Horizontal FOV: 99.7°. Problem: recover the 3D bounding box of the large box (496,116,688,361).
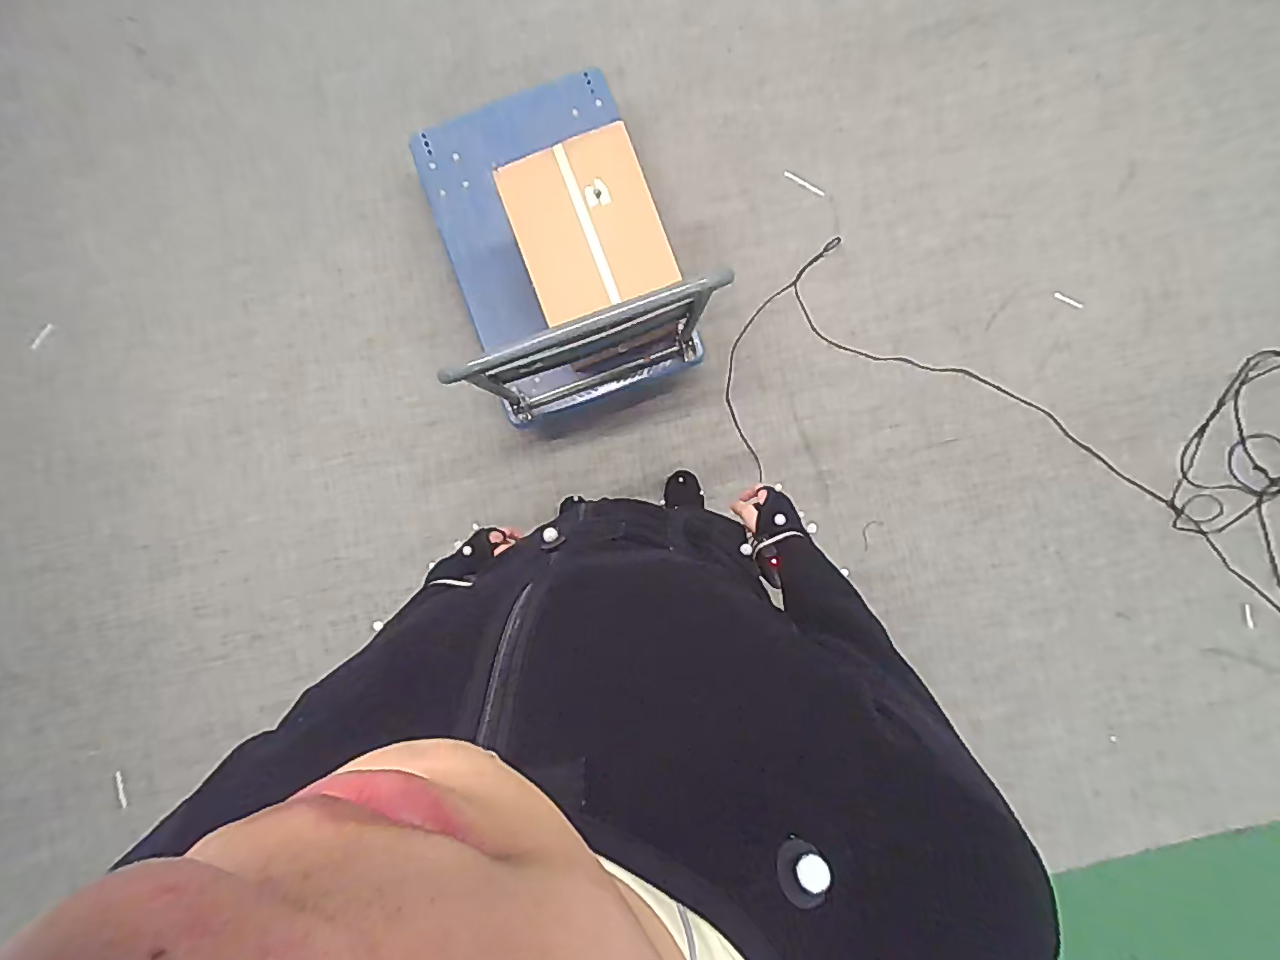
[{"bbox_3d":[-0.102,-0.560,1.333,0.320,0.320,0.408,-21,89,0],"label":"large box"}]
